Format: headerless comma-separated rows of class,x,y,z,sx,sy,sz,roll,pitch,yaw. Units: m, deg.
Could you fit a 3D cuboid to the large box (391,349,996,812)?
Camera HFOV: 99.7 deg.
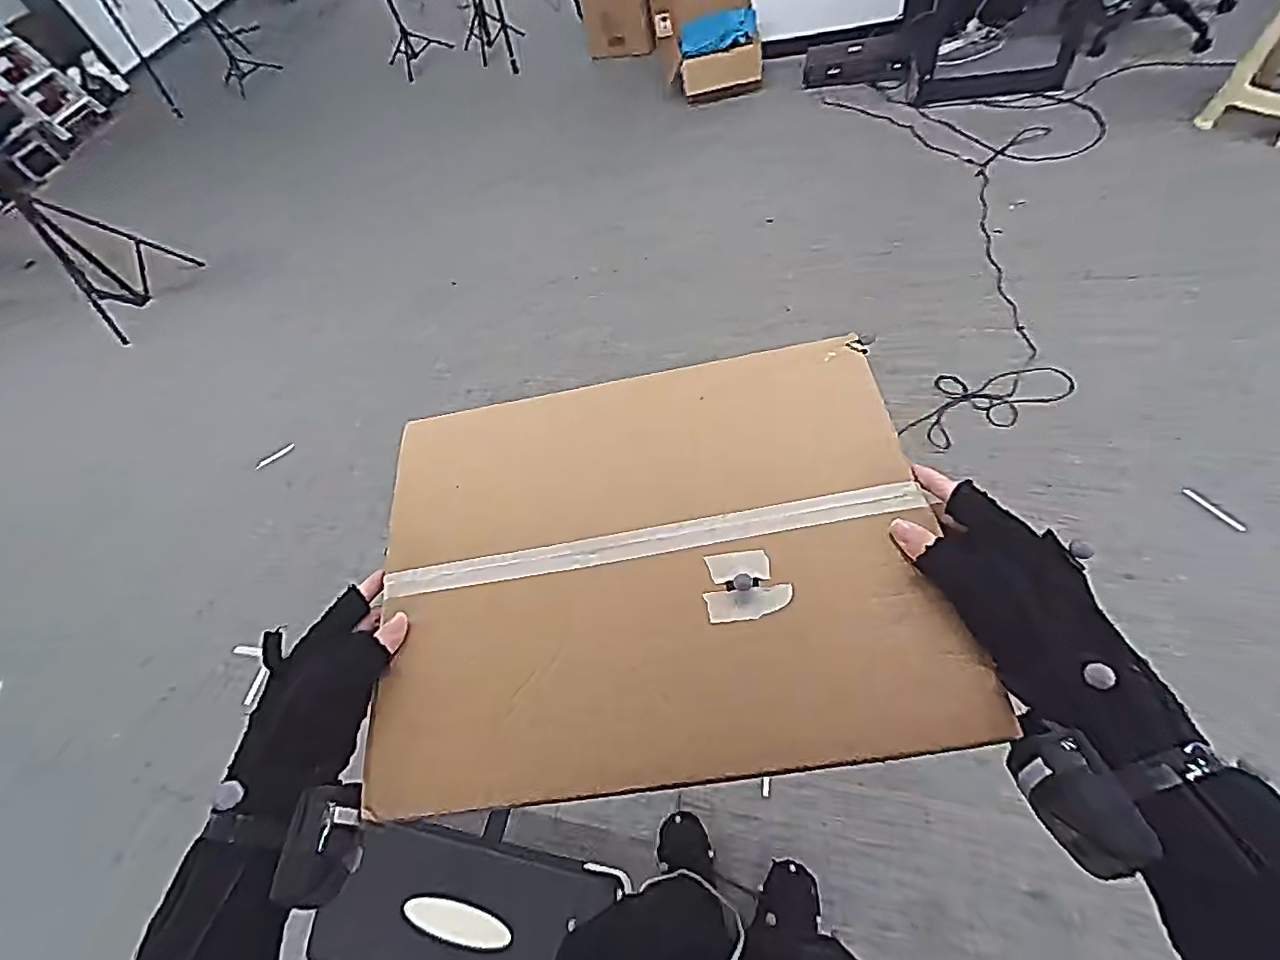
large box,0.030,0.121,0.546,0.408,0.320,0.320,-10,61,4
